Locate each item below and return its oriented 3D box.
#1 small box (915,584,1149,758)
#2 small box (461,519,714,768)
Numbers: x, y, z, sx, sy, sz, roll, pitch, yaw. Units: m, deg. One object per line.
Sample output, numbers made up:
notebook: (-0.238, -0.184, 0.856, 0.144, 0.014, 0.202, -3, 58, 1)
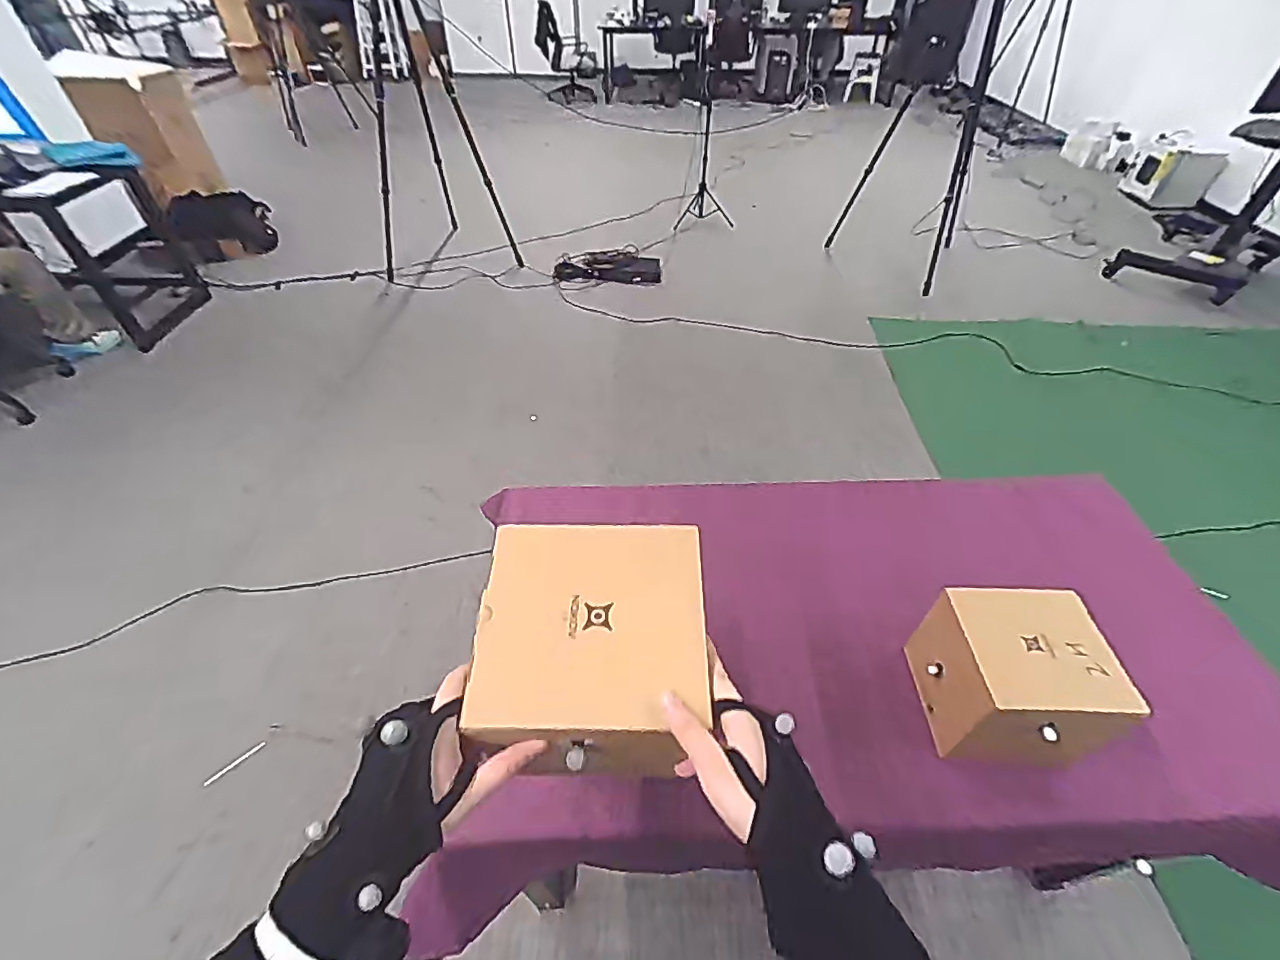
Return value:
small box: (0.492, 0.256, 0.722, 0.179, 0.176, 0.168, 2, 46, 2)
small box: (-0.035, 0.149, 0.480, 0.179, 0.176, 0.168, 0, 52, 1)
